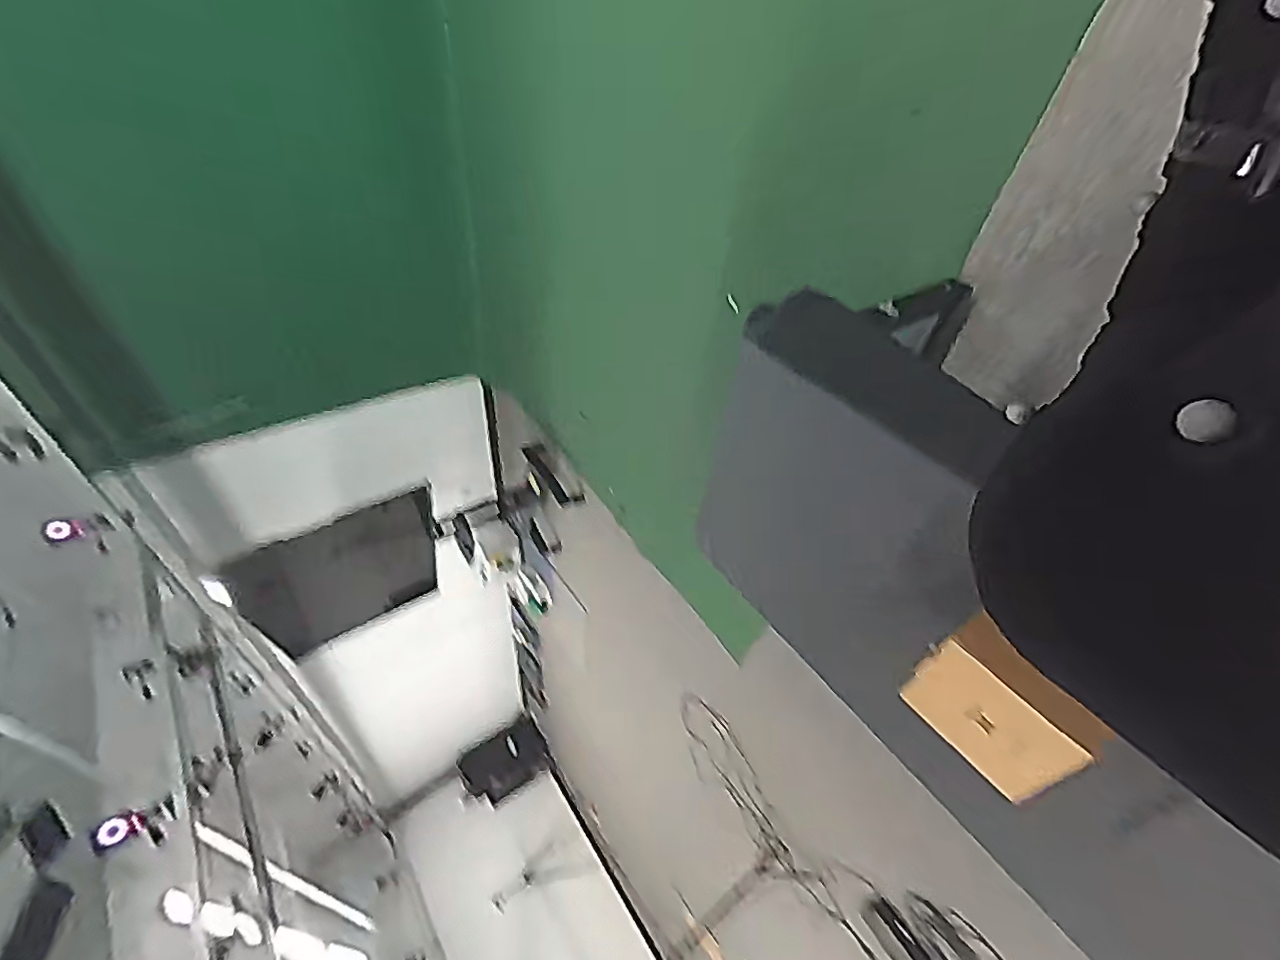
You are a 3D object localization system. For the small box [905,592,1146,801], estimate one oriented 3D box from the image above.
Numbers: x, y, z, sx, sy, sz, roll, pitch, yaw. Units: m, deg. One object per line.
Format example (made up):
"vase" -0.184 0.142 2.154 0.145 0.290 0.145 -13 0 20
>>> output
"small box" 0.505 0.275 0.723 0.179 0.176 0.168 43 146 34
